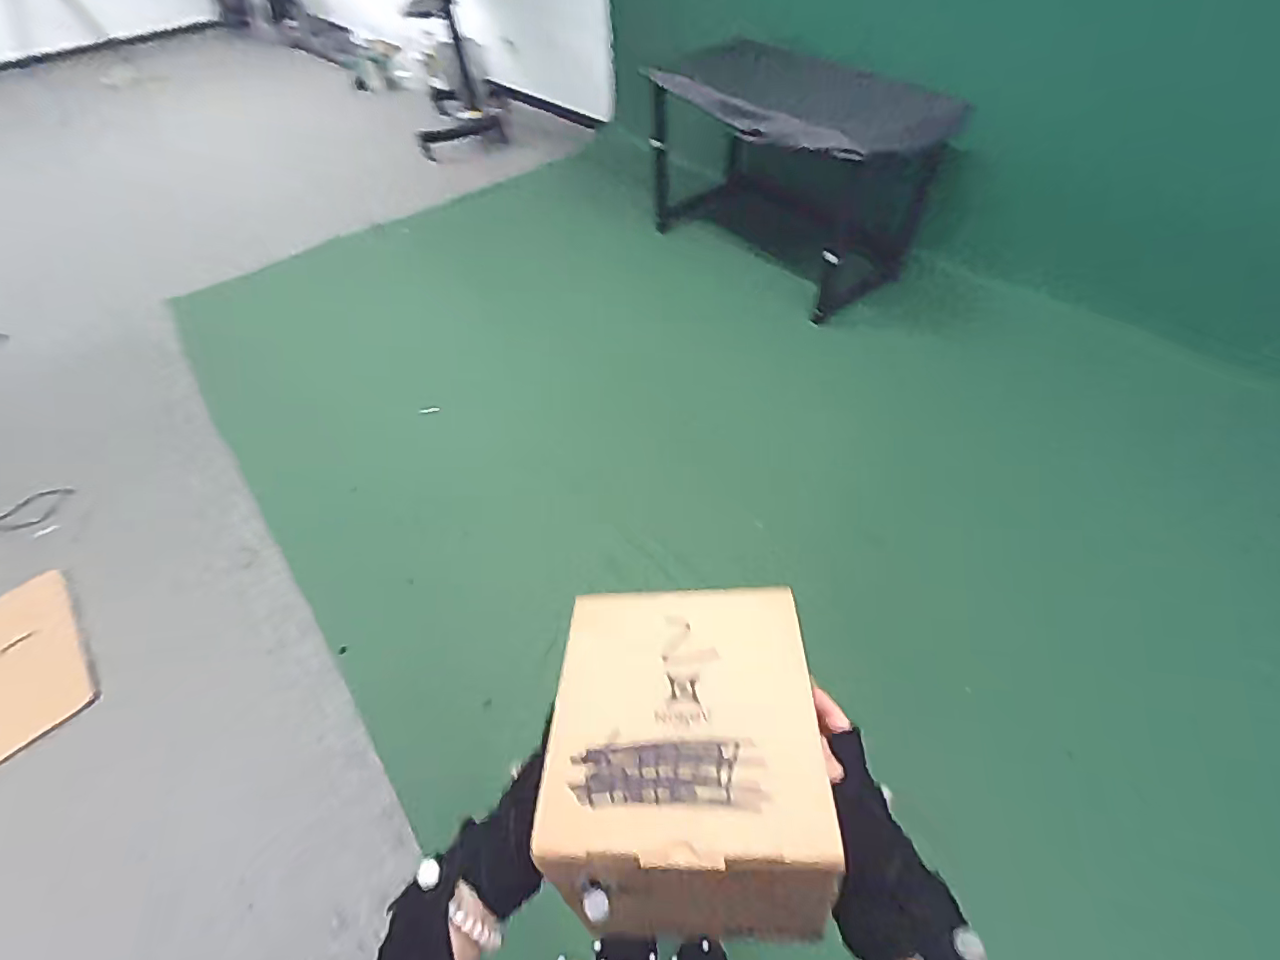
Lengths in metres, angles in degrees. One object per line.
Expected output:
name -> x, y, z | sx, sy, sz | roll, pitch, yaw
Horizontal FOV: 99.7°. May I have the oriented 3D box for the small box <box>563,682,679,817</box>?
small box -> -0.037, 0.568, 1.138 | 0.179, 0.176, 0.168 | -38, 58, -23
